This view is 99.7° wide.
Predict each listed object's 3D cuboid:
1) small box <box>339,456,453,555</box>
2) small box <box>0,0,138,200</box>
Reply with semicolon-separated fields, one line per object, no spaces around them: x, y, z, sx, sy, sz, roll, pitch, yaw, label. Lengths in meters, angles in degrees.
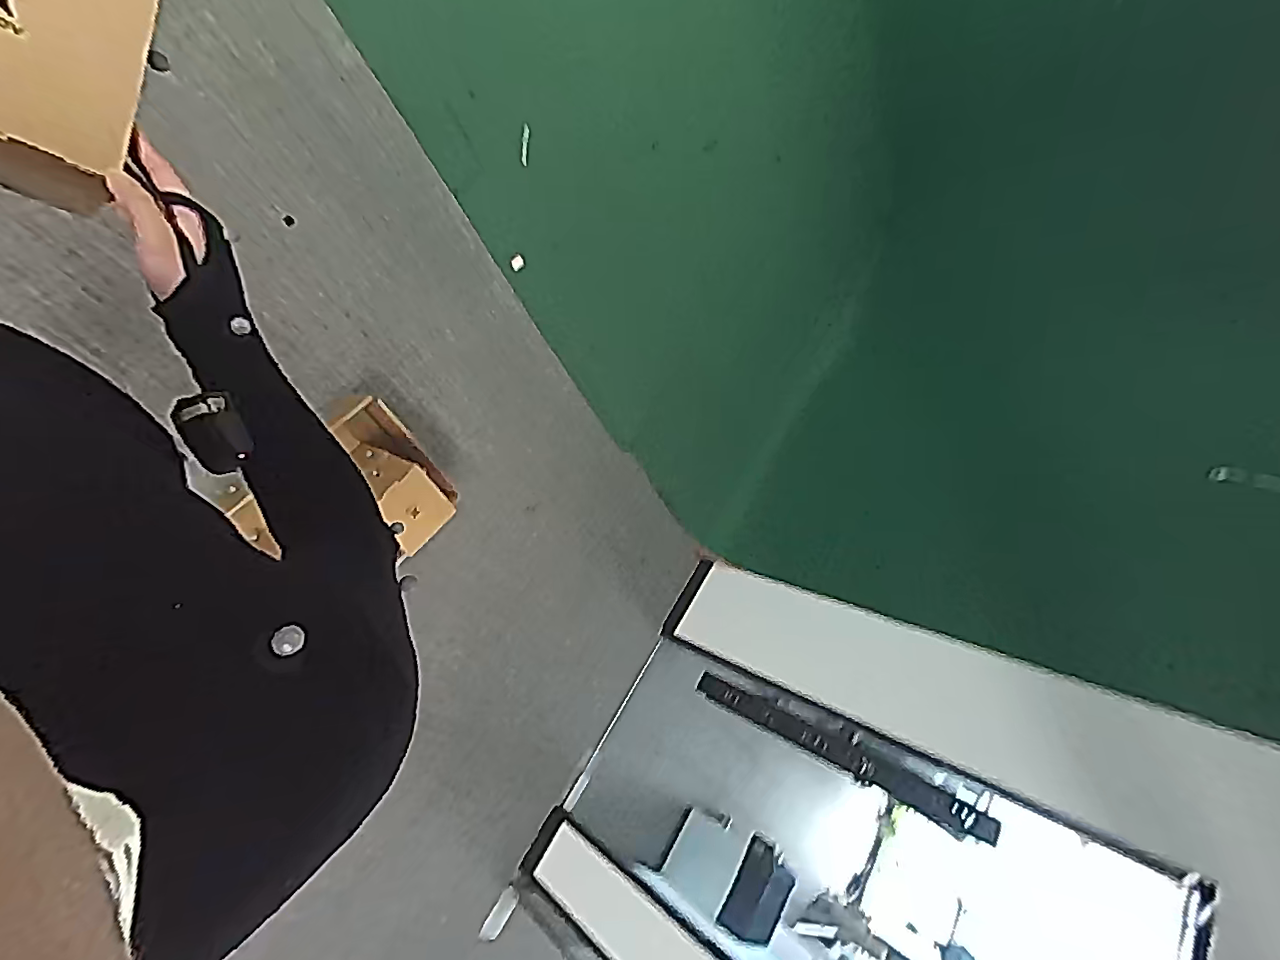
-0.626;0.059;1.390;0.168;0.176;0.179;-50;134;-26;small box
-0.517;-0.348;0.410;0.168;0.176;0.179;10;90;-51;small box
